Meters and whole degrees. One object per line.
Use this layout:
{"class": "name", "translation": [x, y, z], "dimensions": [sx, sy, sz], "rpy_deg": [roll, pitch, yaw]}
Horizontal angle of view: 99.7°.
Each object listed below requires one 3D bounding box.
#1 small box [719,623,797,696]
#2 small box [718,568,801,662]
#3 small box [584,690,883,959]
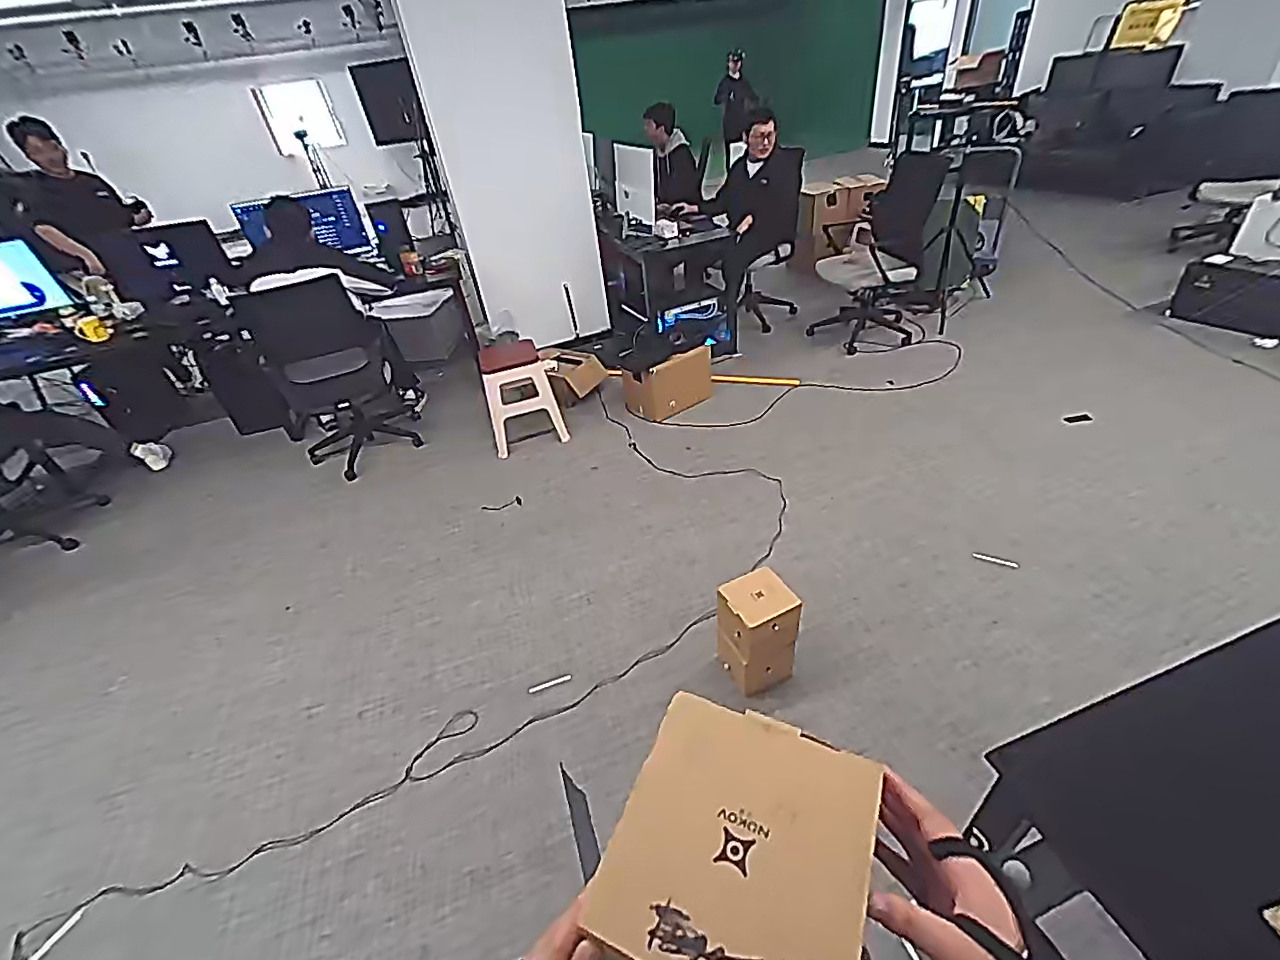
{"class": "small box", "translation": [0.357, 0.523, 1.660], "dimensions": [0.179, 0.176, 0.168], "rpy_deg": [-20, 38, -13]}
{"class": "small box", "translation": [0.344, 0.392, 1.565], "dimensions": [0.179, 0.176, 0.168], "rpy_deg": [-20, 39, -17]}
{"class": "small box", "translation": [0.079, 0.306, 0.419], "dimensions": [0.168, 0.176, 0.179], "rpy_deg": [10, 41, 25]}
